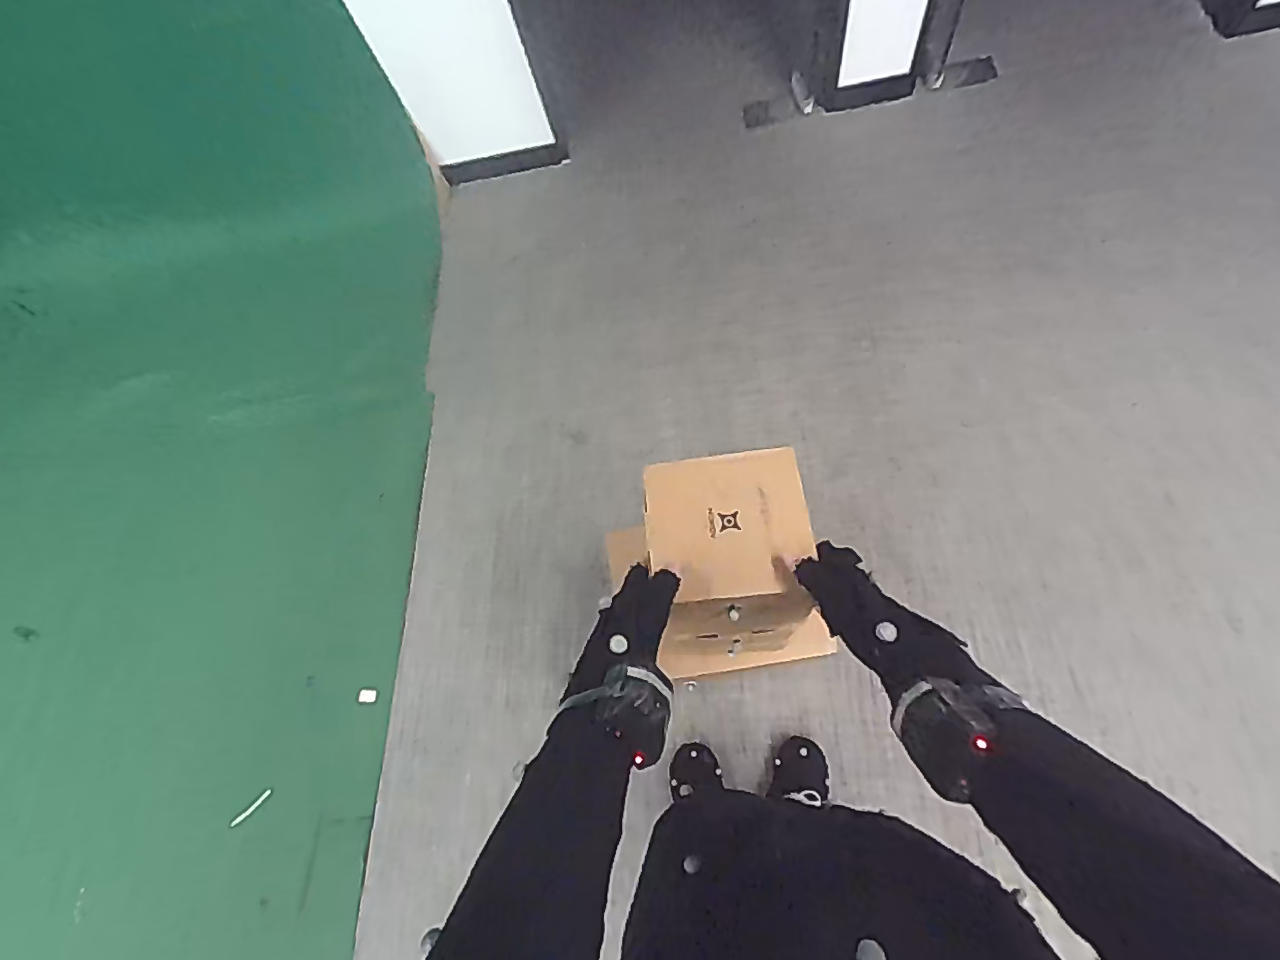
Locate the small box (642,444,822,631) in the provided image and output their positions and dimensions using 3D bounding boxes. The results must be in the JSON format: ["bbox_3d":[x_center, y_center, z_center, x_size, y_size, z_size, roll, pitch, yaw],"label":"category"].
[{"bbox_3d":[0.103,0.077,0.649,0.179,0.176,0.168,-7,62,5],"label":"small box"}]

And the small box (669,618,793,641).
[{"bbox_3d":[0.129,0.146,0.809,0.168,0.176,0.179,-7,69,8],"label":"small box"}]

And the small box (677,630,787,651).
[{"bbox_3d":[0.156,0.210,0.957,0.179,0.176,0.168,-6,69,9],"label":"small box"}]
